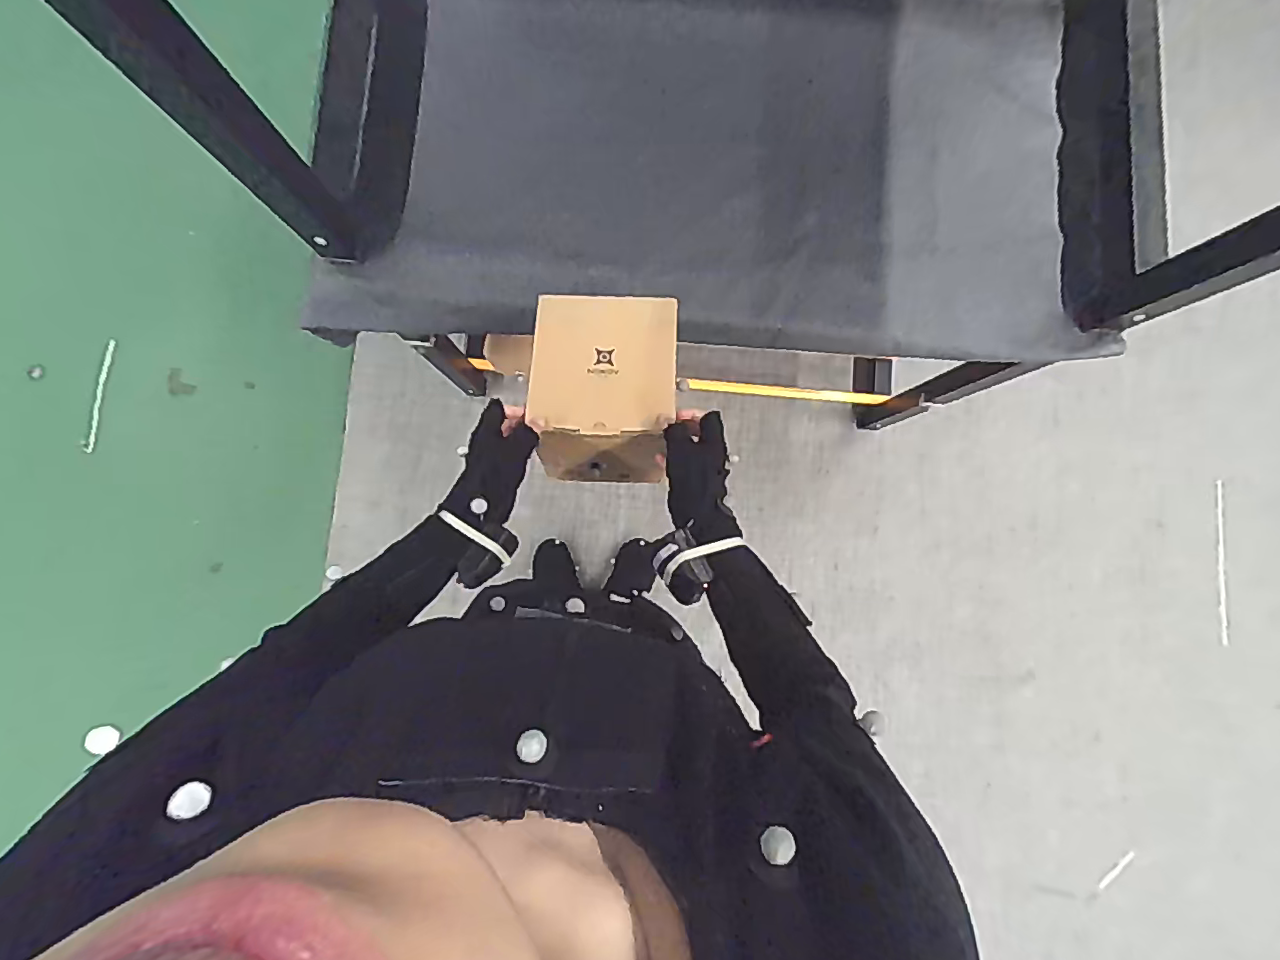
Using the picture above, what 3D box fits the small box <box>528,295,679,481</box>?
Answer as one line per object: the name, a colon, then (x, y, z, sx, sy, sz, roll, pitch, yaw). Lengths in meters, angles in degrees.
small box: (-0.039, -0.110, 0.689, 0.168, 0.176, 0.179, 1, 71, 1)
